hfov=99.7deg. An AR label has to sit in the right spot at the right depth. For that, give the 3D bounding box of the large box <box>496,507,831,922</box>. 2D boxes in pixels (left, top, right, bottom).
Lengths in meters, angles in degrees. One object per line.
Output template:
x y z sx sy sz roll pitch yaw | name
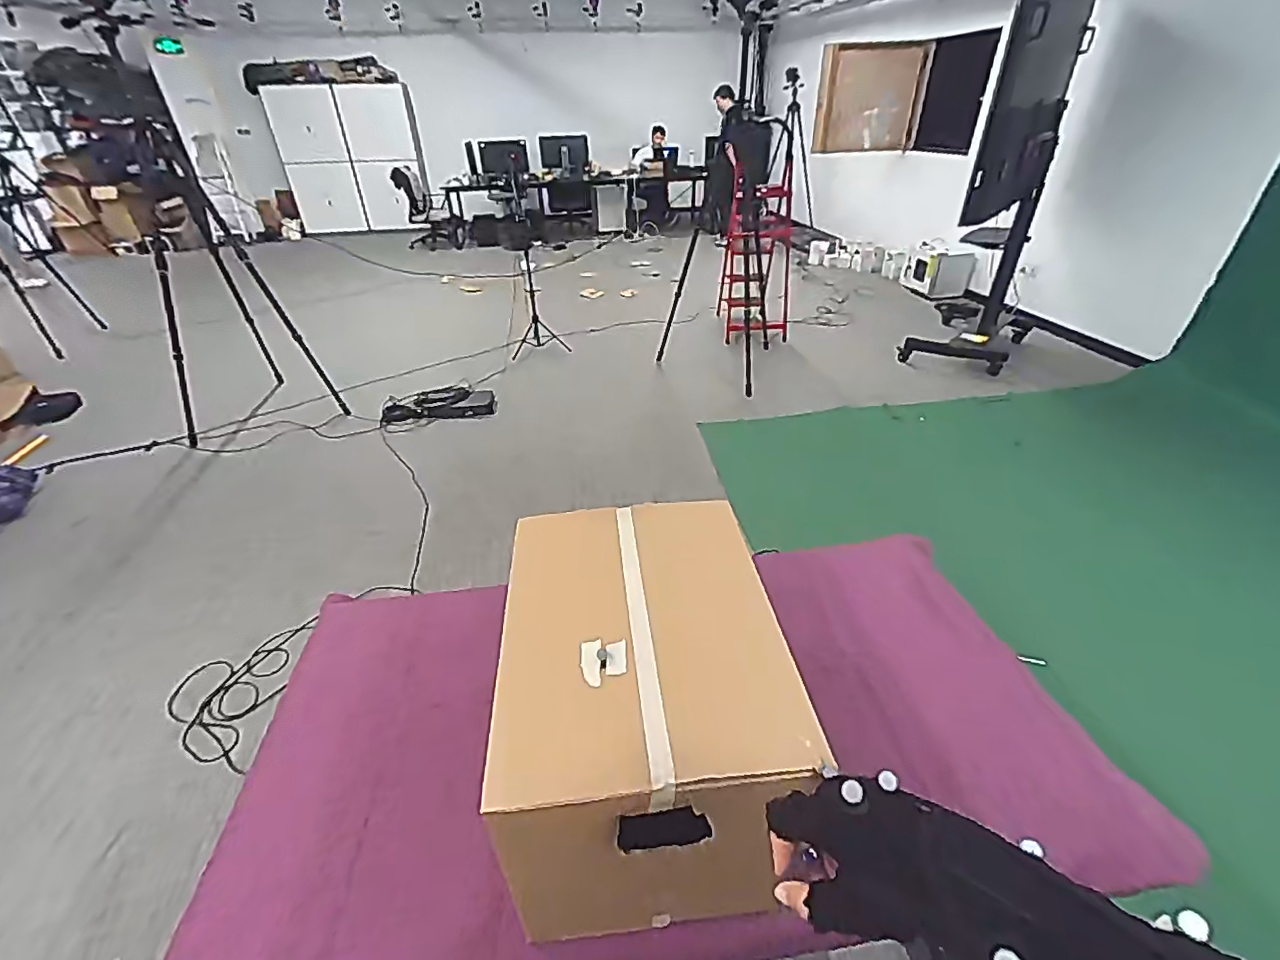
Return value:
0.002 0.282 0.727 0.320 0.320 0.408 -4 35 -4 | large box
